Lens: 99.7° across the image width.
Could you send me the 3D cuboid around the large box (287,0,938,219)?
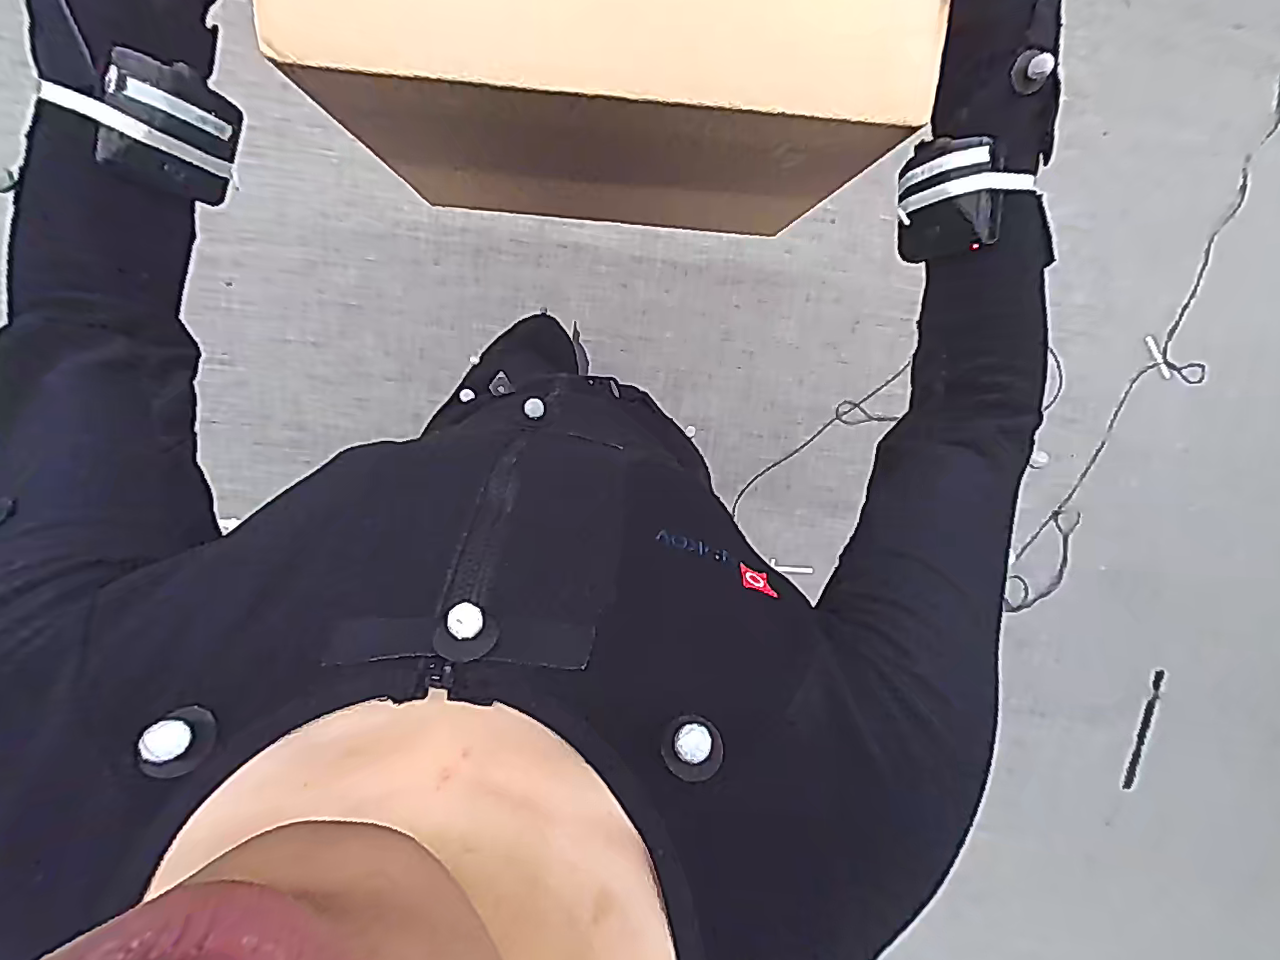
[{"bbox_3d":[-0.017,-0.429,0.451,0.408,0.320,0.320,2,103,-5],"label":"large box"}]
